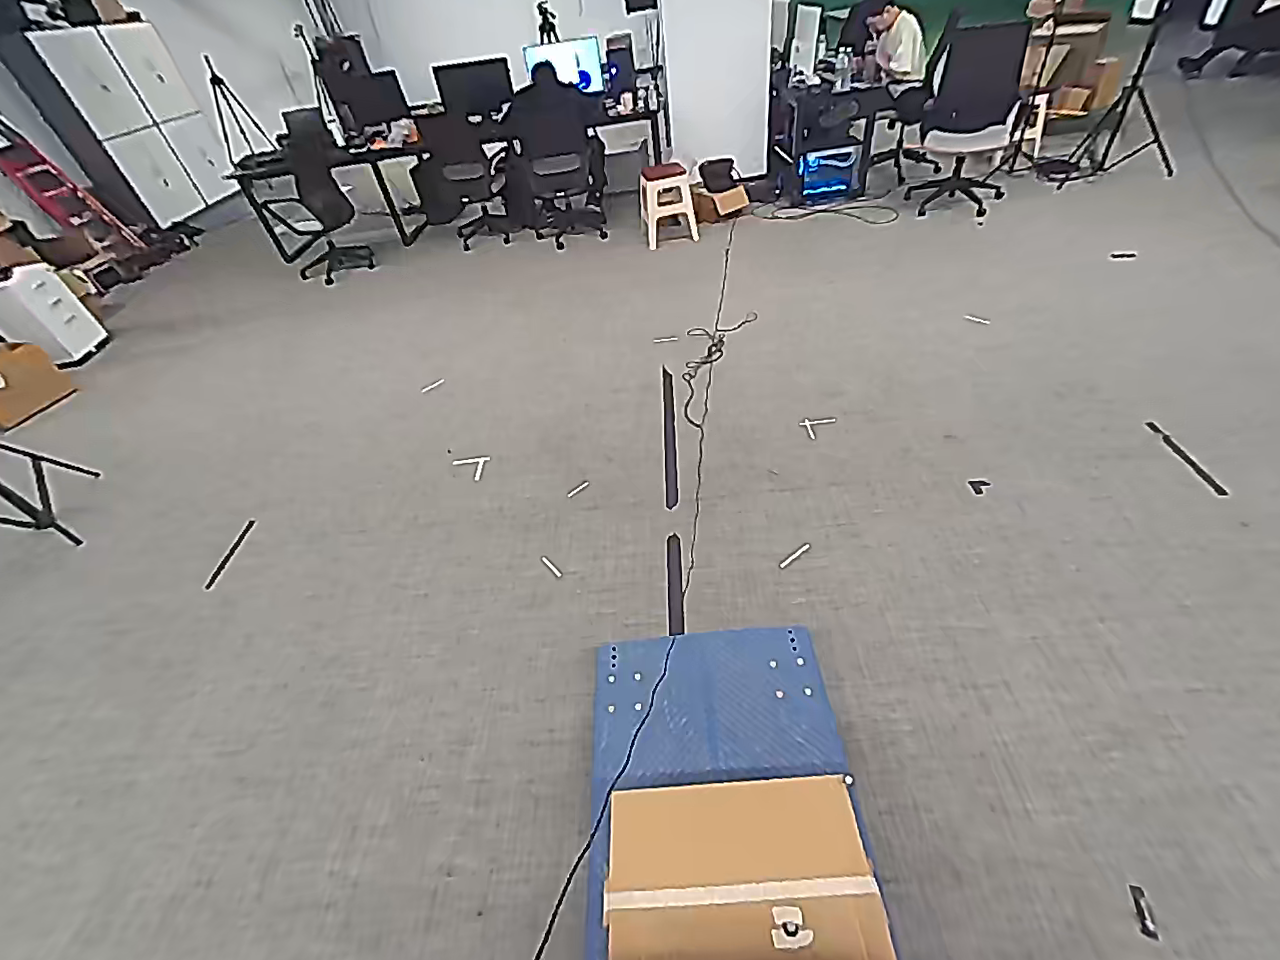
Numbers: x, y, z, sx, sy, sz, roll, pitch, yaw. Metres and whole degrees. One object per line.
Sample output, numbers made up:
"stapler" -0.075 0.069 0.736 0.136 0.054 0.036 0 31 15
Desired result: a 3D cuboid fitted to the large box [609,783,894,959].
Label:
"large box" 0.168 0.747 0.906 0.408 0.320 0.320 -7 42 4
